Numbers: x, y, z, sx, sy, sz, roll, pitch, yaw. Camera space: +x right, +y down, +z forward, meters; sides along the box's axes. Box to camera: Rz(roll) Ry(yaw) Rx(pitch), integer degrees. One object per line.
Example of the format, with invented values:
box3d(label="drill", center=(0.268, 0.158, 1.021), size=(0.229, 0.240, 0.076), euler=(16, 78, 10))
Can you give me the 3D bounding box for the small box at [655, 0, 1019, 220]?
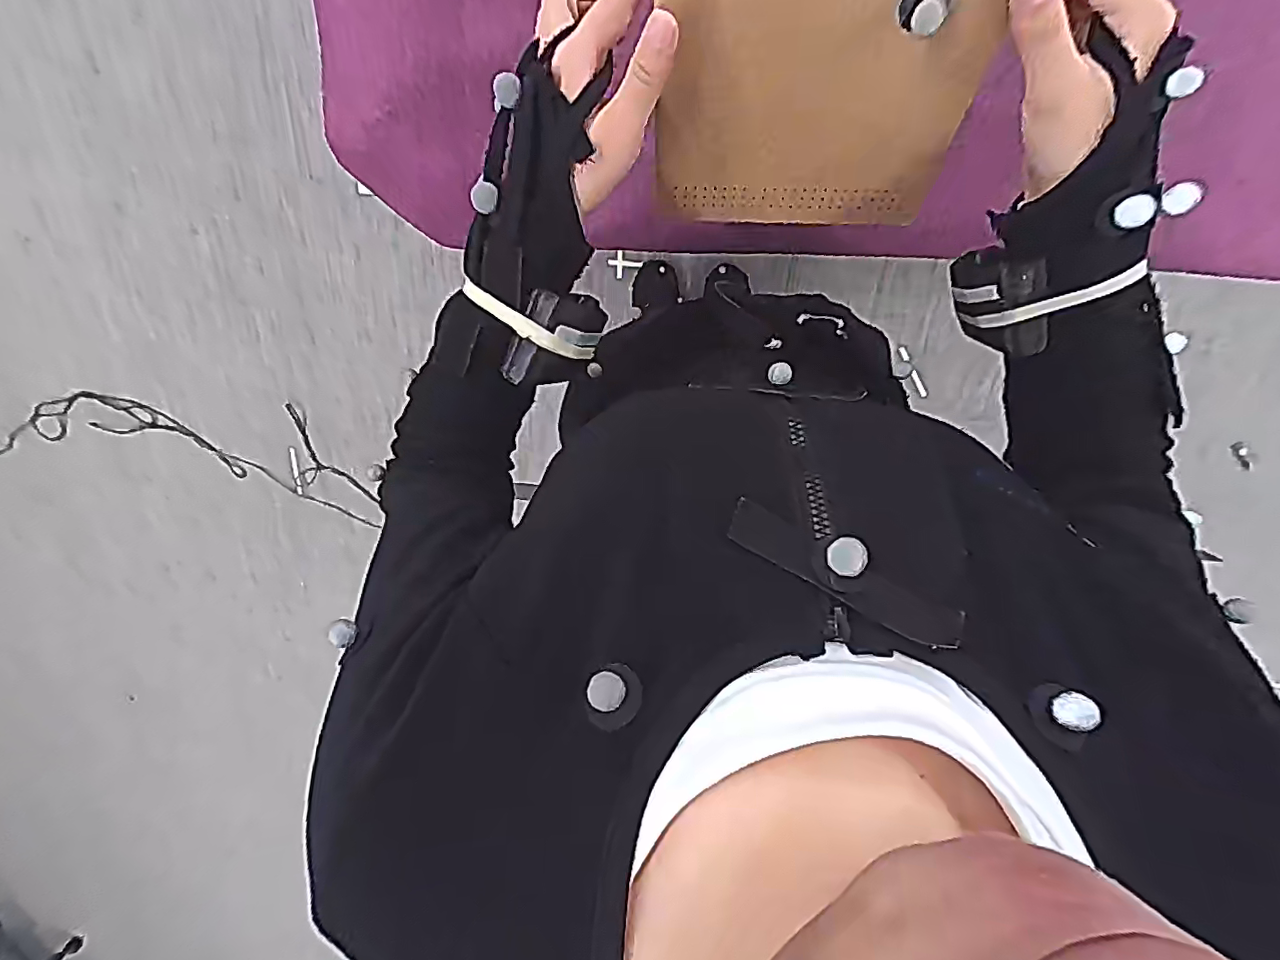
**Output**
box3d(label="small box", center=(0.102, -0.283, 0.327), size=(0.179, 0.168, 0.176), euler=(3, 154, 4))
